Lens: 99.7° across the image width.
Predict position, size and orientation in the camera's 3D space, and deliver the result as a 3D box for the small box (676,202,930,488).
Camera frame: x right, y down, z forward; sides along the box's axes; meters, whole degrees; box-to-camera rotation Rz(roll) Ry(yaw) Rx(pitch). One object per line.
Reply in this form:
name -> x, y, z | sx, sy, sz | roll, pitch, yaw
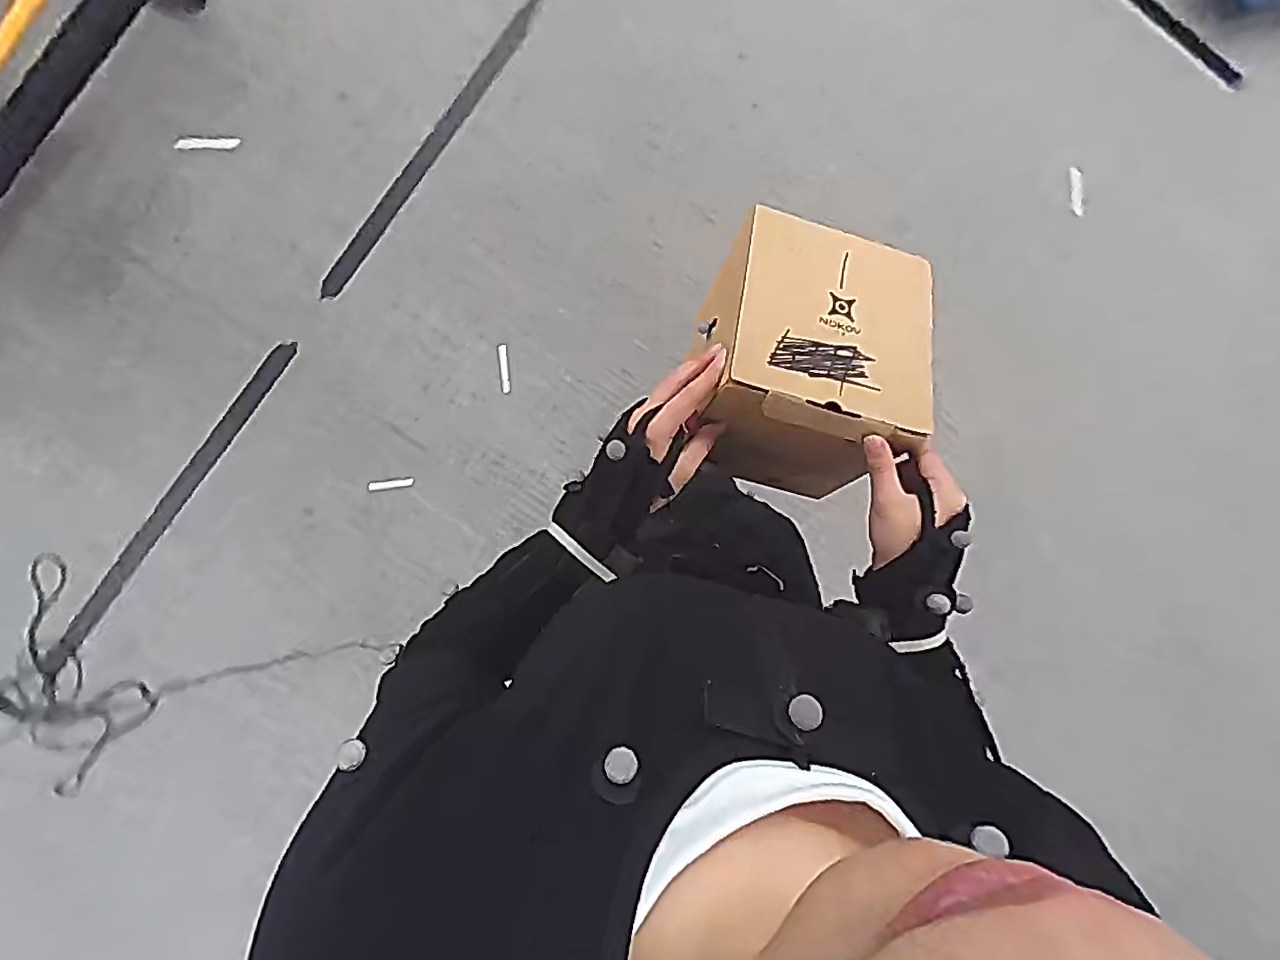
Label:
small box -> 0.138, -0.107, 0.500 | 0.168, 0.176, 0.179 | 13, 70, -7
